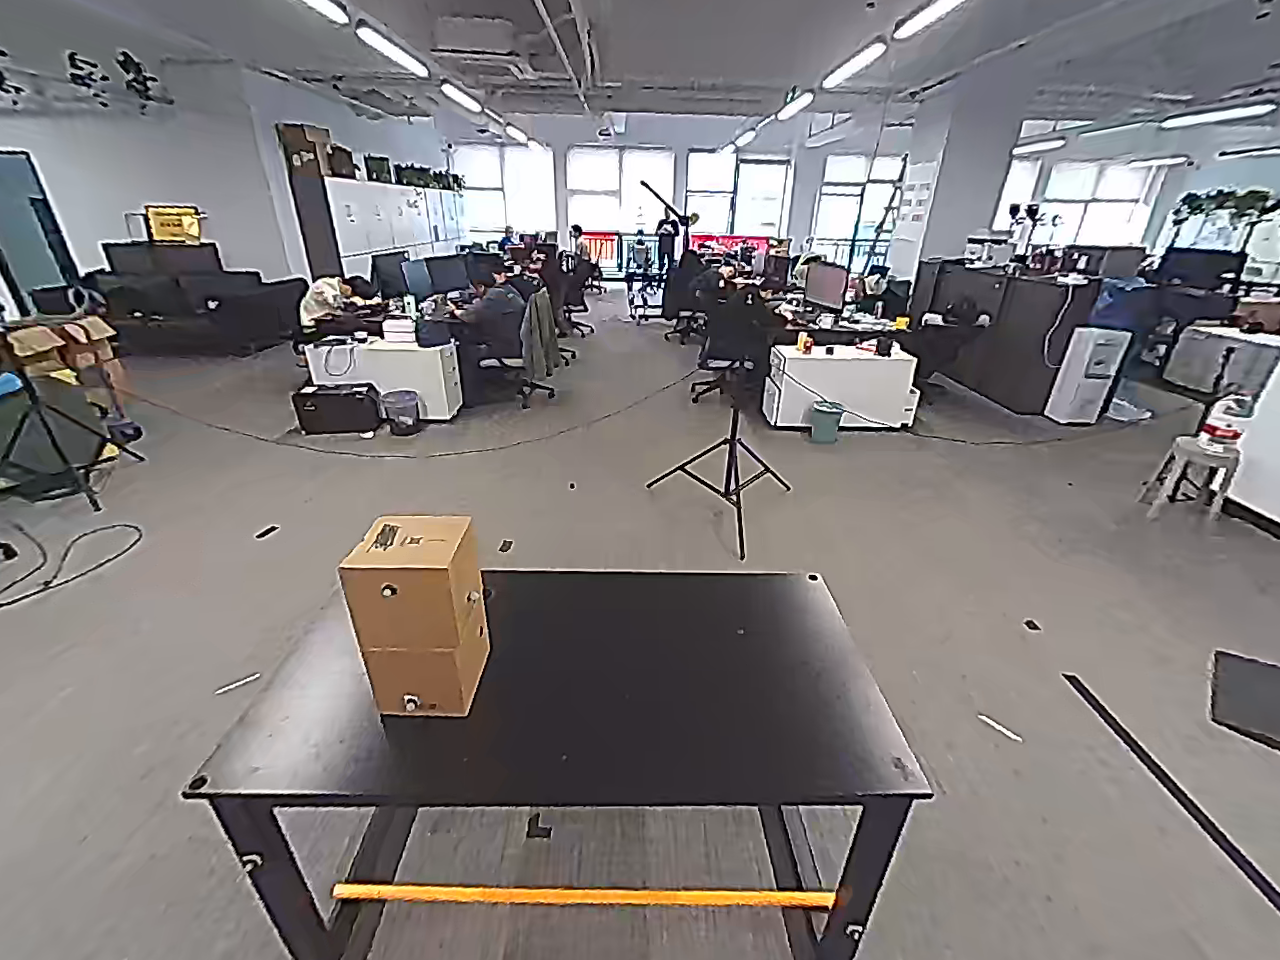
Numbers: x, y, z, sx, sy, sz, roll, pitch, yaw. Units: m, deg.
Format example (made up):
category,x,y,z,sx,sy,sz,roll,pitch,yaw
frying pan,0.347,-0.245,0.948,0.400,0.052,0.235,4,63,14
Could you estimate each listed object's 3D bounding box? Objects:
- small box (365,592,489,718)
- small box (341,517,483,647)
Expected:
category,x,y,z,sx,sy,sz,roll,pitch,yaw
small box,-0.395,0.327,1.039,0.168,0.176,0.179,0,27,-1
small box,-0.392,0.180,0.964,0.179,0.176,0.168,0,26,-2
